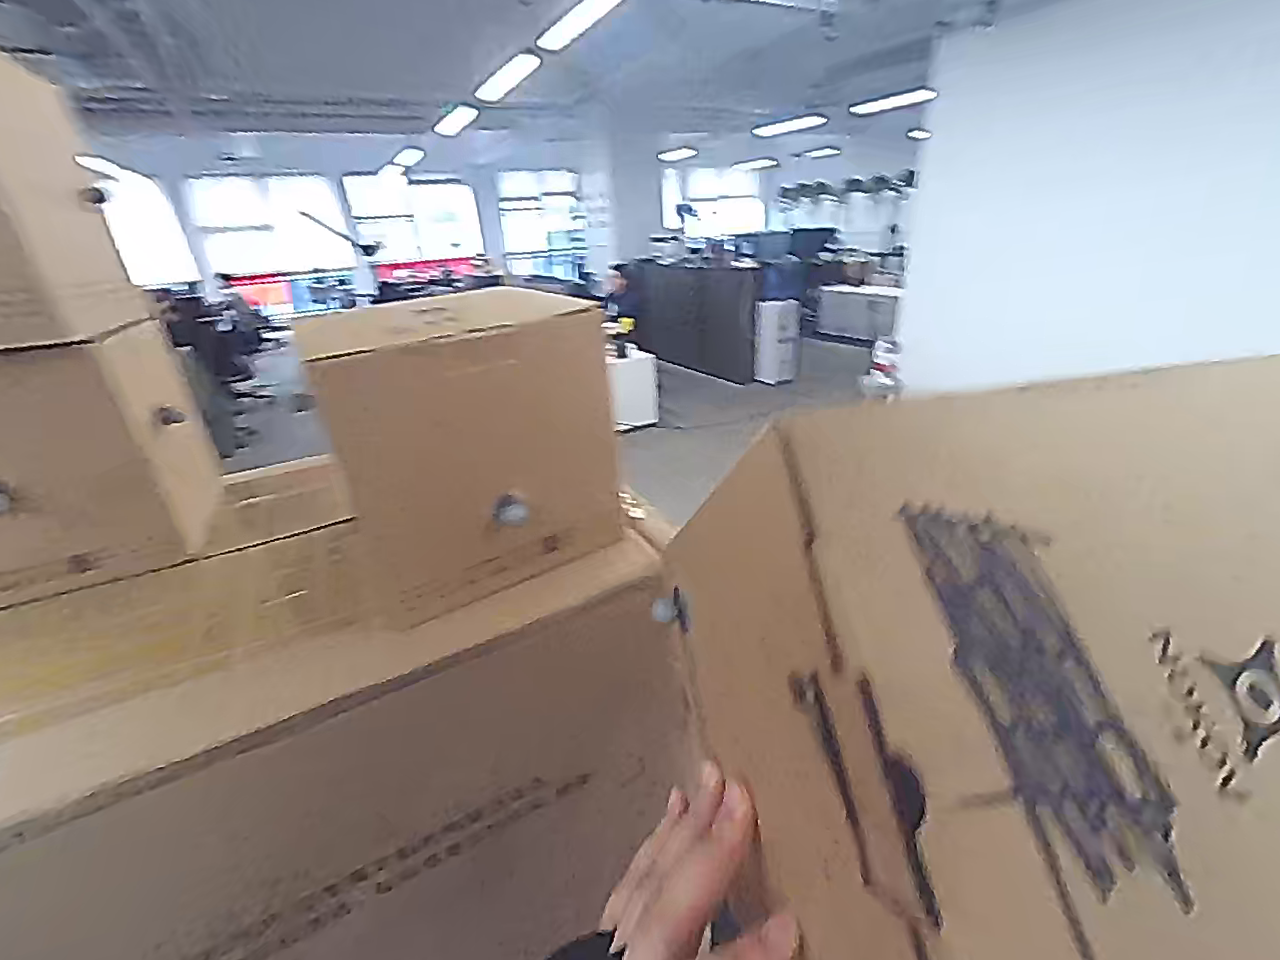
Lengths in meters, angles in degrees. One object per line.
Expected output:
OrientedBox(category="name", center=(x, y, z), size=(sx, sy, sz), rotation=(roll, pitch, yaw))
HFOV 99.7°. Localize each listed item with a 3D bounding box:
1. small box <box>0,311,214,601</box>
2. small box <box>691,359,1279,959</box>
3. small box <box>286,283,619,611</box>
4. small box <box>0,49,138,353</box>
OrientedBox(category="small box", center=(-0.453, -0.022, 0.404), size=(0.168, 0.176, 0.179), rotation=(-16, 28, -26))
OrientedBox(category="small box", center=(0.124, 0.077, 0.194), size=(0.179, 0.168, 0.176), rotation=(-8, -17, -11))
OrientedBox(category="small box", center=(-0.130, -0.039, 0.387), size=(0.168, 0.176, 0.179), rotation=(-21, 31, -27))
OrientedBox(category="small box", center=(-0.453, -0.166, 0.324), size=(0.168, 0.176, 0.179), rotation=(-16, 28, -24))
